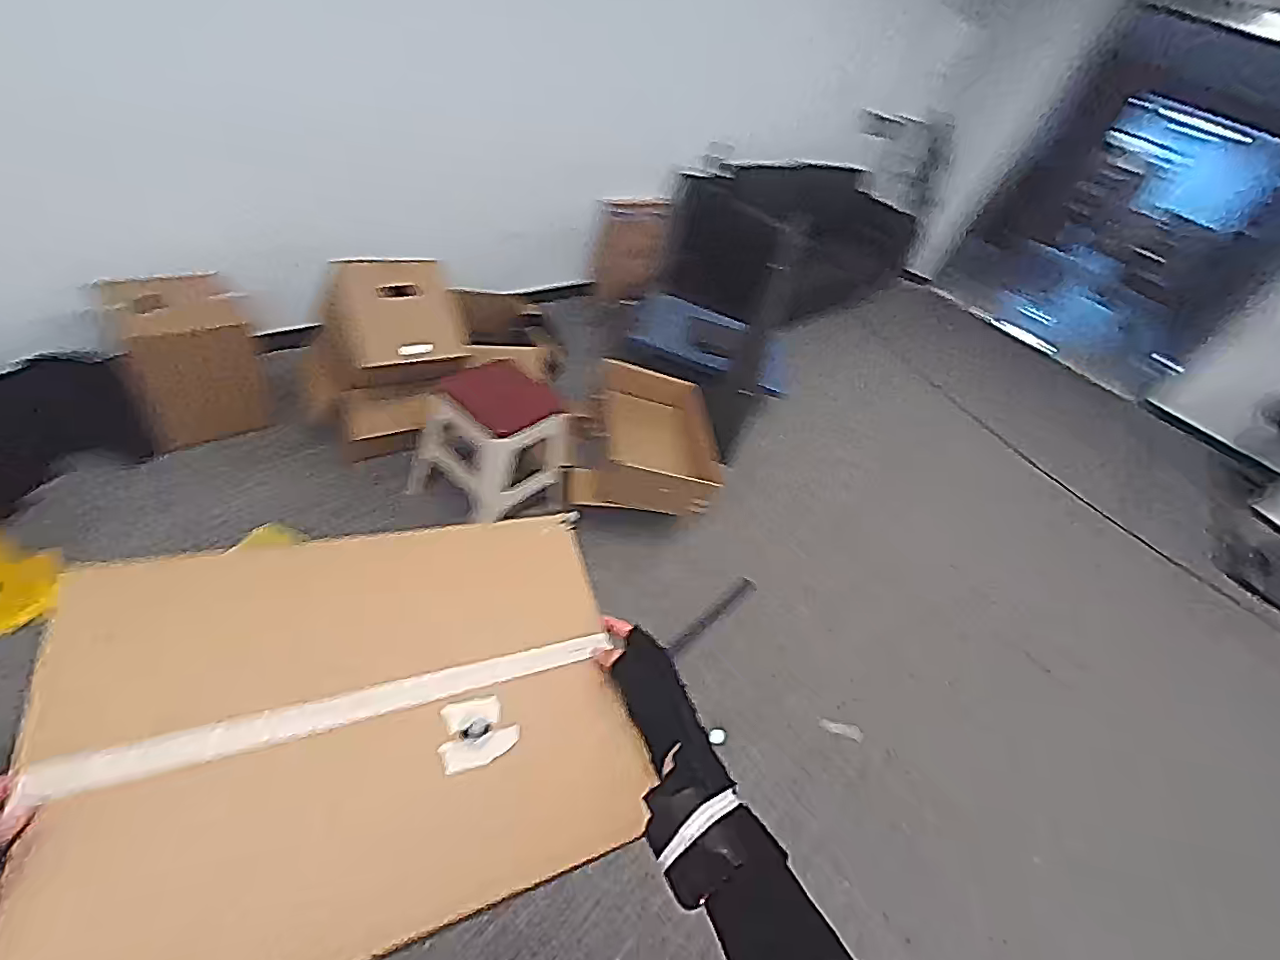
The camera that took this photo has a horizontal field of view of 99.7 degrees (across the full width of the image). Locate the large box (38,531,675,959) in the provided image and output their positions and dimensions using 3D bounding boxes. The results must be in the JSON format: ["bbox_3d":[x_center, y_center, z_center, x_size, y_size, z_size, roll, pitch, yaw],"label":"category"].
[{"bbox_3d":[-0.244,0.282,0.543,0.408,0.320,0.320,-3,53,-29],"label":"large box"}]
